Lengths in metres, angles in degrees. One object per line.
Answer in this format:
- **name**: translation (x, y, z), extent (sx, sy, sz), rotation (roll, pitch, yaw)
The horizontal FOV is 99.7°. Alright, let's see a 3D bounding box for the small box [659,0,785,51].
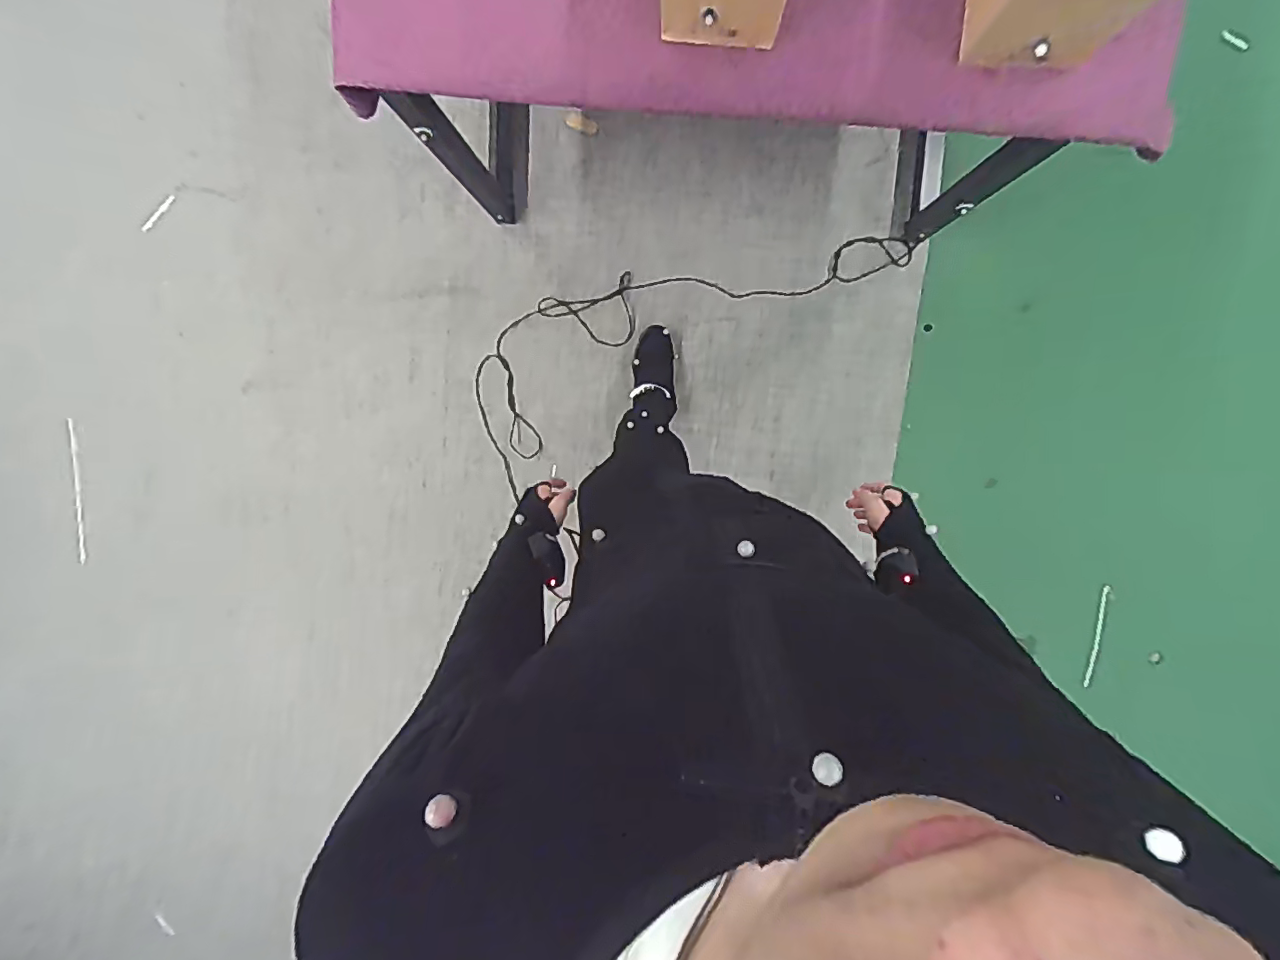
- **small box**: translation (0.114, -0.702, 0.688), extent (0.168, 0.176, 0.179), rotation (6, 98, 1)

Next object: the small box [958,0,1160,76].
- **small box**: translation (0.530, -0.654, 0.677), extent (0.168, 0.176, 0.179), rotation (4, 99, 3)
